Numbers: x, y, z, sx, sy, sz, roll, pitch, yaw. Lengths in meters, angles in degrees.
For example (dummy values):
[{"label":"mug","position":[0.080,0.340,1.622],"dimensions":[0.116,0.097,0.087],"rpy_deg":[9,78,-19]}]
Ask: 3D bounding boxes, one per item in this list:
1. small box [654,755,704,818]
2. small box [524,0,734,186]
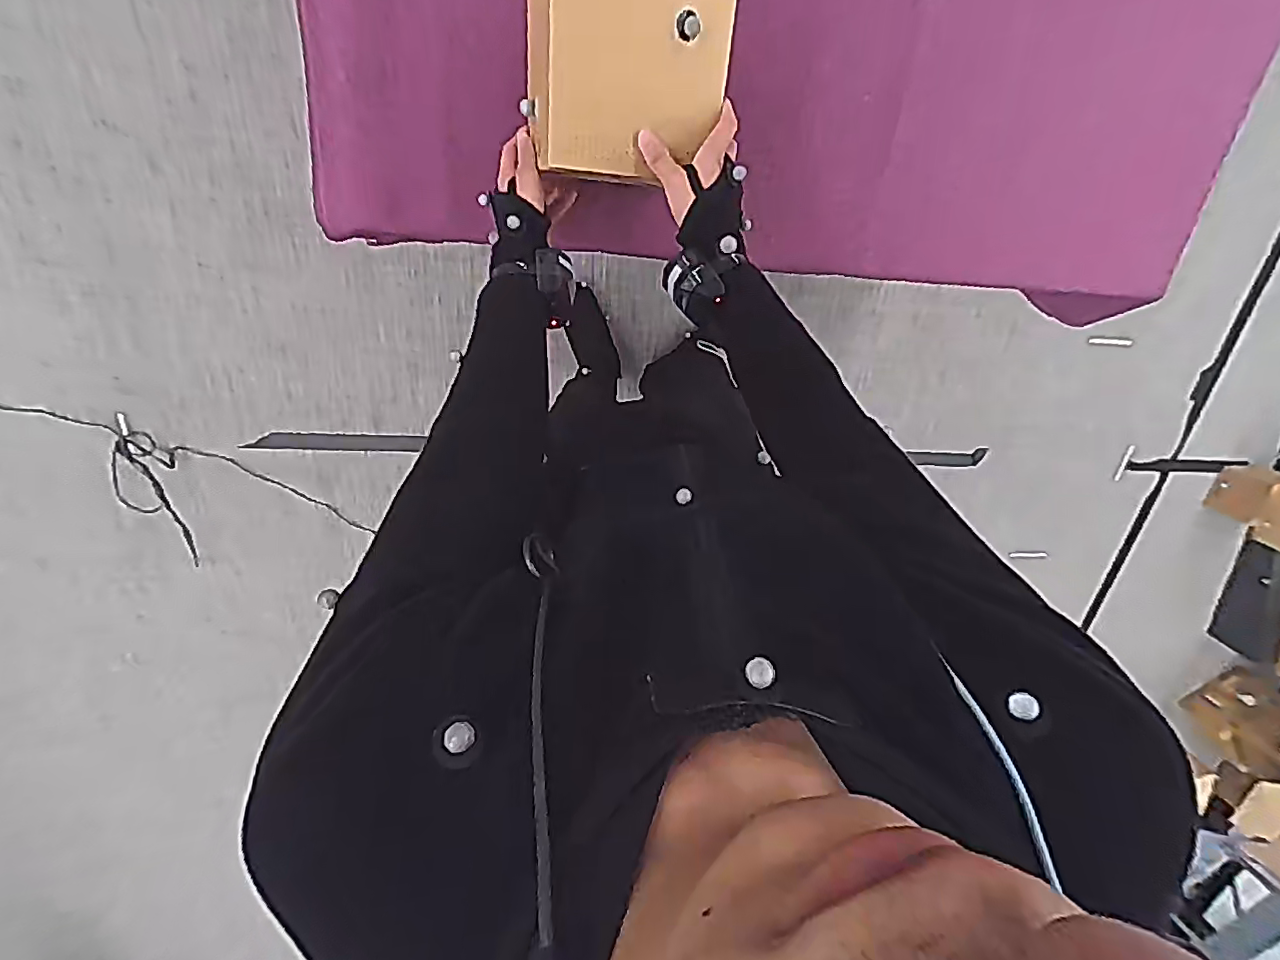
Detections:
[{"label":"small box","position":[0.159,1.274,2.263],"dimensions":[0.168,0.176,0.179],"rpy_deg":[1,116,-10]},{"label":"small box","position":[-0.025,-0.411,0.565],"dimensions":[0.179,0.168,0.176],"rpy_deg":[-3,117,-18]}]
